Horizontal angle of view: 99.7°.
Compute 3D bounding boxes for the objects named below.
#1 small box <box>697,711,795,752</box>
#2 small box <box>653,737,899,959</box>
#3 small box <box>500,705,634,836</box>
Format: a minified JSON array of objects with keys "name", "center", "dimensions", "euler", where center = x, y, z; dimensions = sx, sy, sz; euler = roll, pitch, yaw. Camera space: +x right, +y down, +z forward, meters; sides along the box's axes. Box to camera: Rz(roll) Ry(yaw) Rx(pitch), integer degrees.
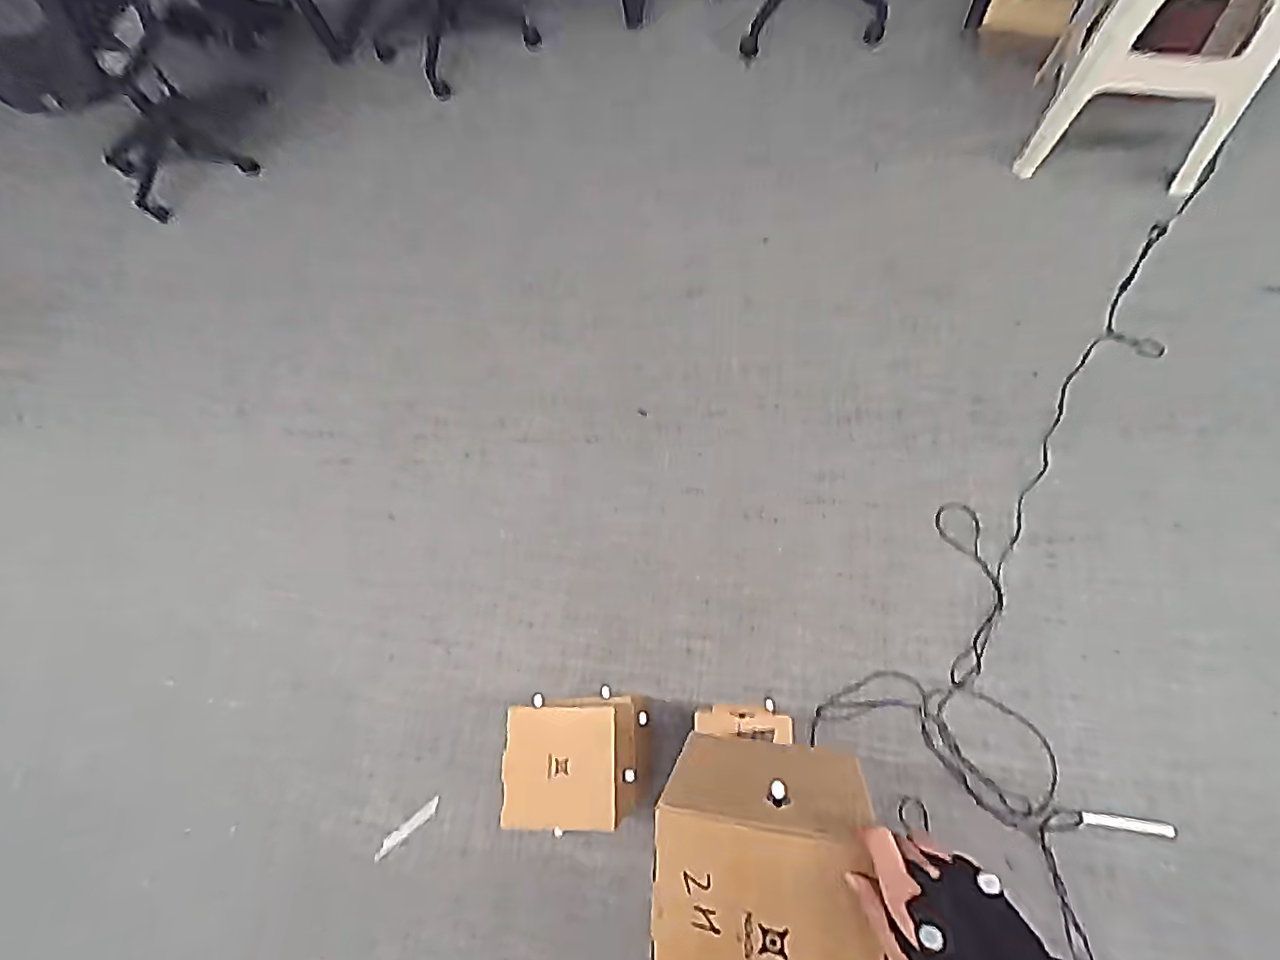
[{"name":"small box","center":[0.189,0.513,0.967],"dimensions":[0.168,0.176,0.179],"euler":[-2,70,11]},{"name":"small box","center":[0.116,0.348,0.477],"dimensions":[0.179,0.176,0.168],"euler":[1,86,16]},{"name":"small box","center":[-0.105,0.456,0.872],"dimensions":[0.179,0.176,0.168],"euler":[-5,69,10]}]
